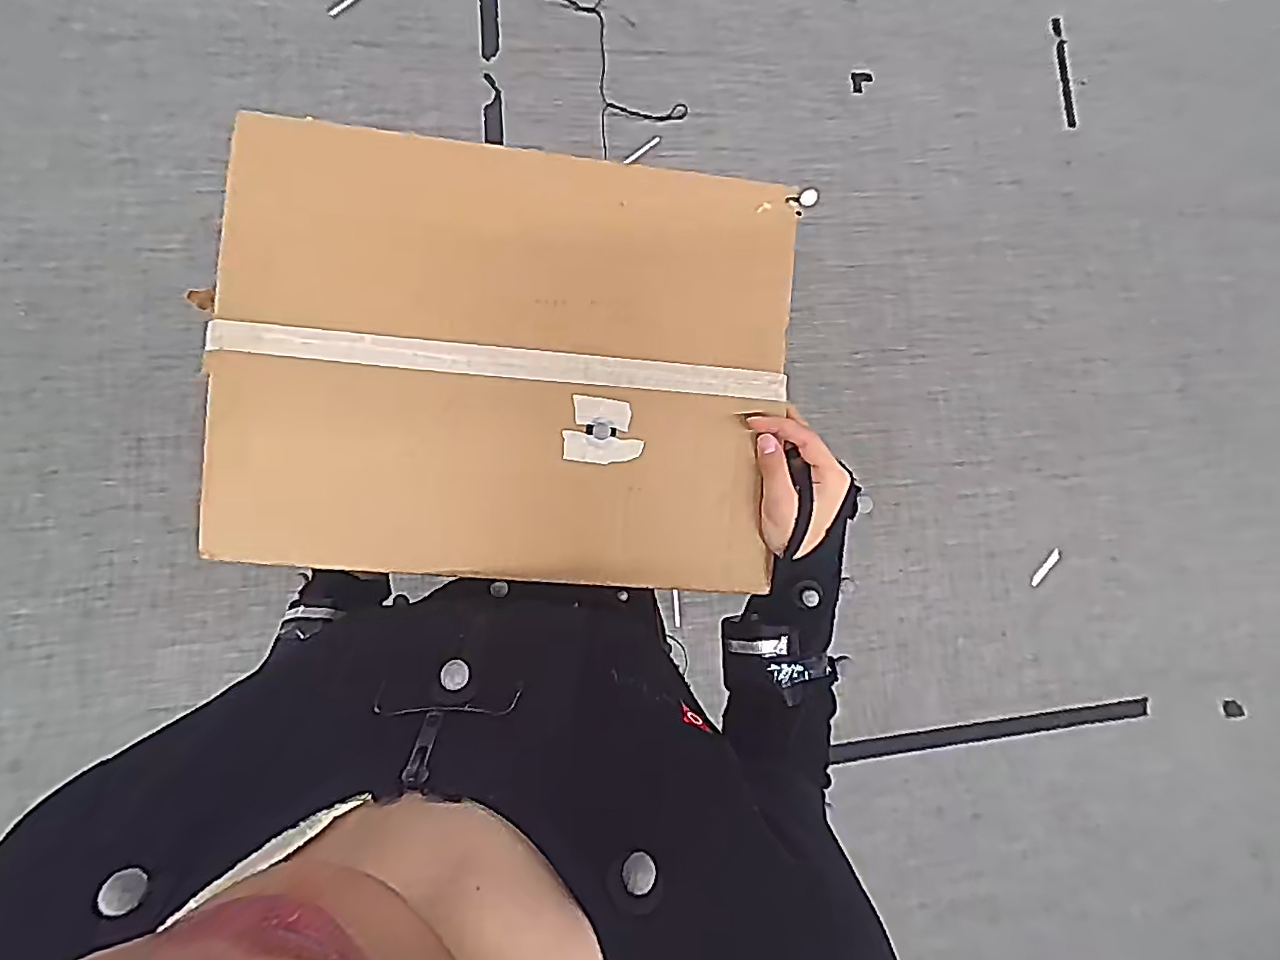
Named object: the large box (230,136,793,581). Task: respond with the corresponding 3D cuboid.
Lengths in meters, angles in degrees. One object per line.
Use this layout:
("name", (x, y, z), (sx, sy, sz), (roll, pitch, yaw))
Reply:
("large box", (-0.102, -0.081, 0.549), (0.408, 0.320, 0.320), (4, 90, -7))
